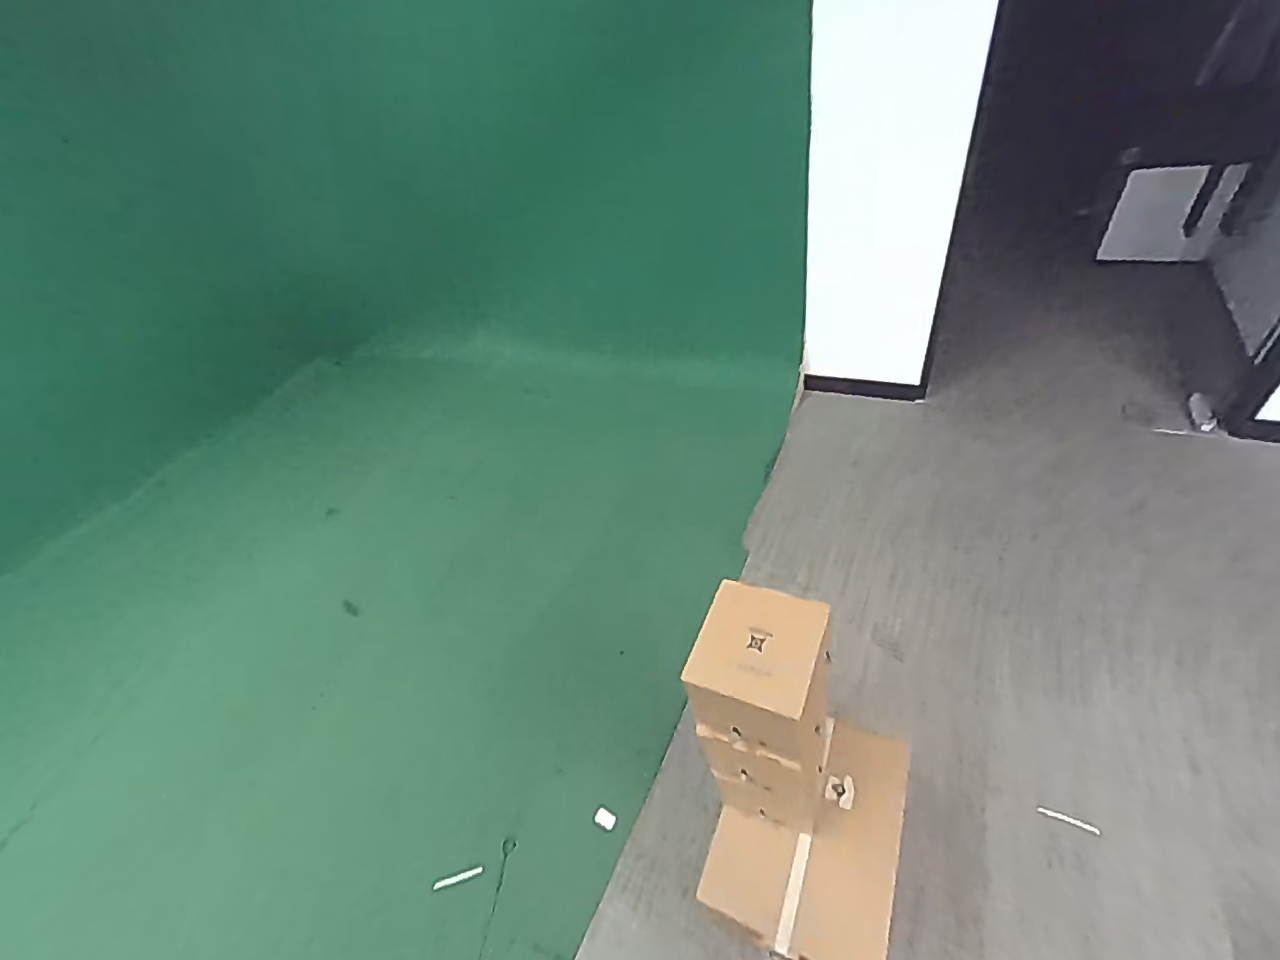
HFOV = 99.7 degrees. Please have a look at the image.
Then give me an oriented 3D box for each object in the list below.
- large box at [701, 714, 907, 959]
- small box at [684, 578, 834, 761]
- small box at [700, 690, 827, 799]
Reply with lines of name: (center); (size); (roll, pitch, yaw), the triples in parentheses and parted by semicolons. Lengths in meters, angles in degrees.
large box: (0.351, 0.740, 1.124); (0.320, 0.320, 0.408); (10, 48, 25)
small box: (0.186, 0.281, 0.809); (0.168, 0.176, 0.179); (9, 50, 29)
small box: (0.217, 0.400, 0.916); (0.168, 0.176, 0.179); (8, 49, 27)
